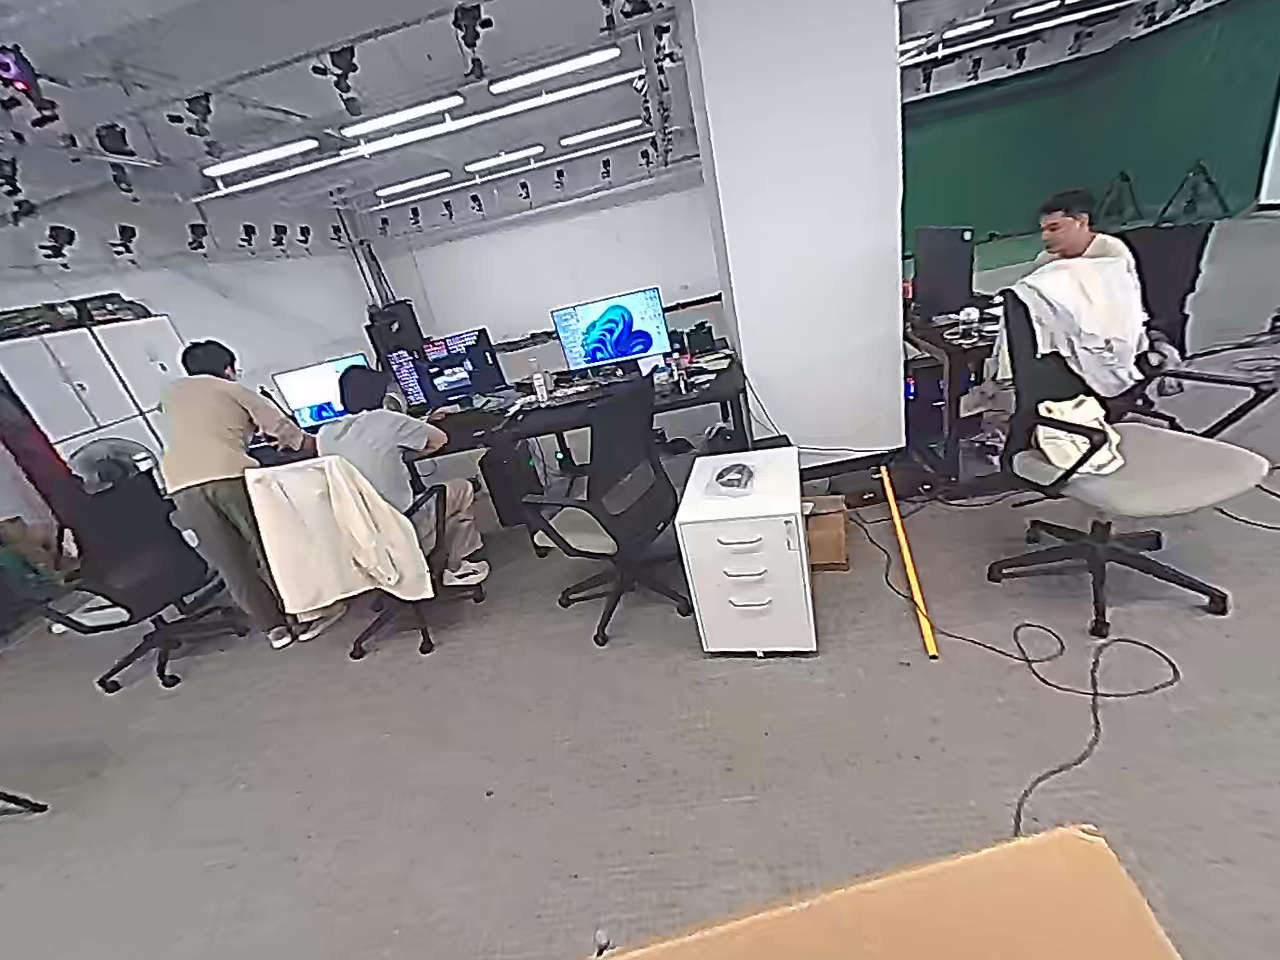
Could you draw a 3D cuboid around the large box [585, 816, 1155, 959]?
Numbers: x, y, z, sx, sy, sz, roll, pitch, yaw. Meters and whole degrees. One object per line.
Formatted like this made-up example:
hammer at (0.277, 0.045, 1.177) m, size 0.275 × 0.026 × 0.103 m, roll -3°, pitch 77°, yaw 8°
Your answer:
large box at (0.151, 0.483, 0.375) m, size 0.408 × 0.320 × 0.320 m, roll -17°, pitch 52°, yaw 0°
